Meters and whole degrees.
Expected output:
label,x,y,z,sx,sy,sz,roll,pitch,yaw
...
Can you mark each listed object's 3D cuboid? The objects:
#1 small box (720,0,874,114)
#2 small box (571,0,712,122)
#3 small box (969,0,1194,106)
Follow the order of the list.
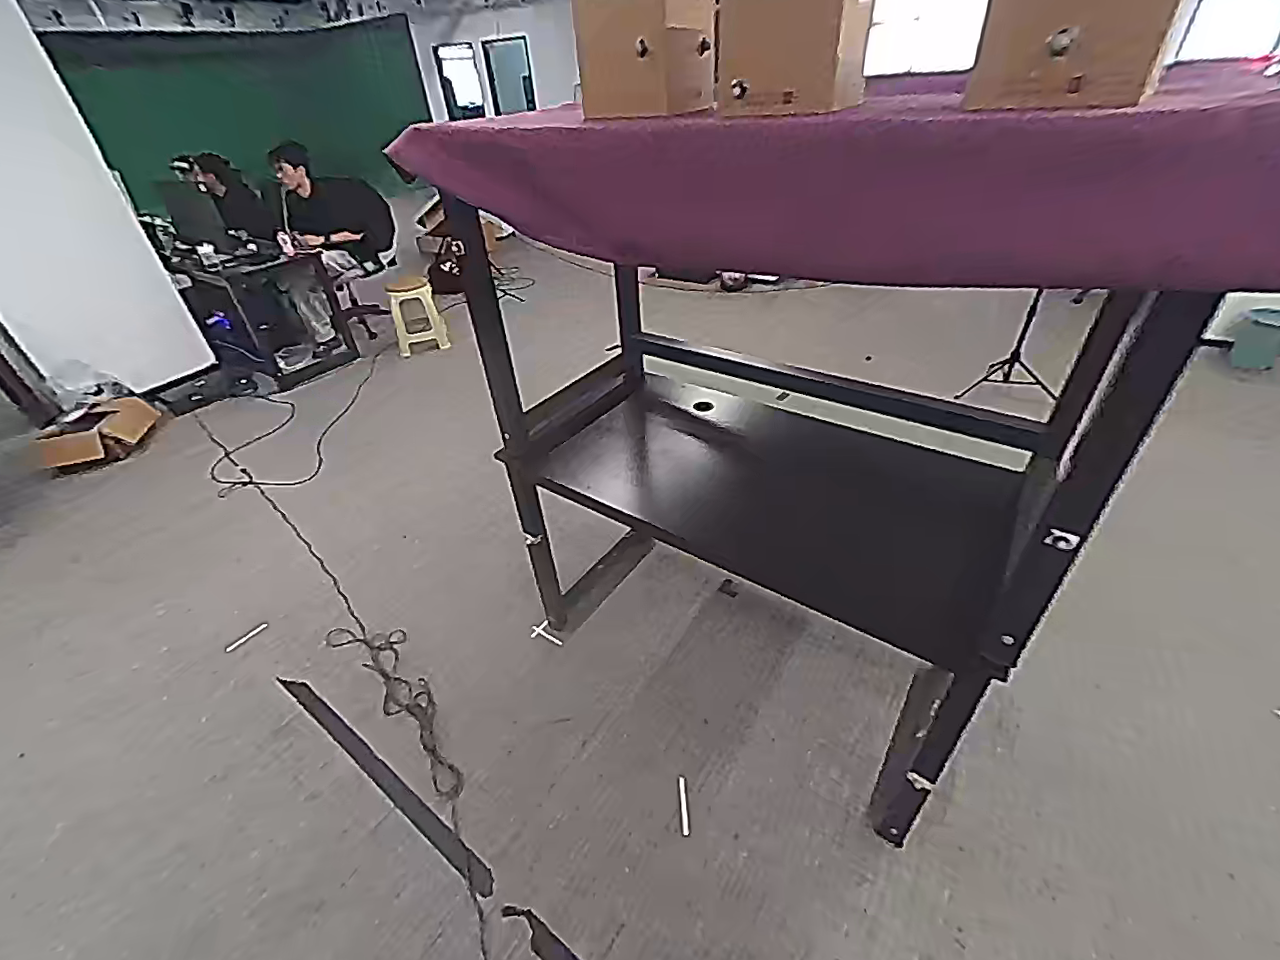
label,x,y,z,sx,sy,sz,roll,pitch,yaw
small box,0.219,-0.614,0.750,0.168,0.176,0.179,17,41,26
small box,0.011,-0.708,0.899,0.179,0.176,0.168,18,42,28
small box,0.477,-0.504,0.572,0.168,0.176,0.179,23,45,33
